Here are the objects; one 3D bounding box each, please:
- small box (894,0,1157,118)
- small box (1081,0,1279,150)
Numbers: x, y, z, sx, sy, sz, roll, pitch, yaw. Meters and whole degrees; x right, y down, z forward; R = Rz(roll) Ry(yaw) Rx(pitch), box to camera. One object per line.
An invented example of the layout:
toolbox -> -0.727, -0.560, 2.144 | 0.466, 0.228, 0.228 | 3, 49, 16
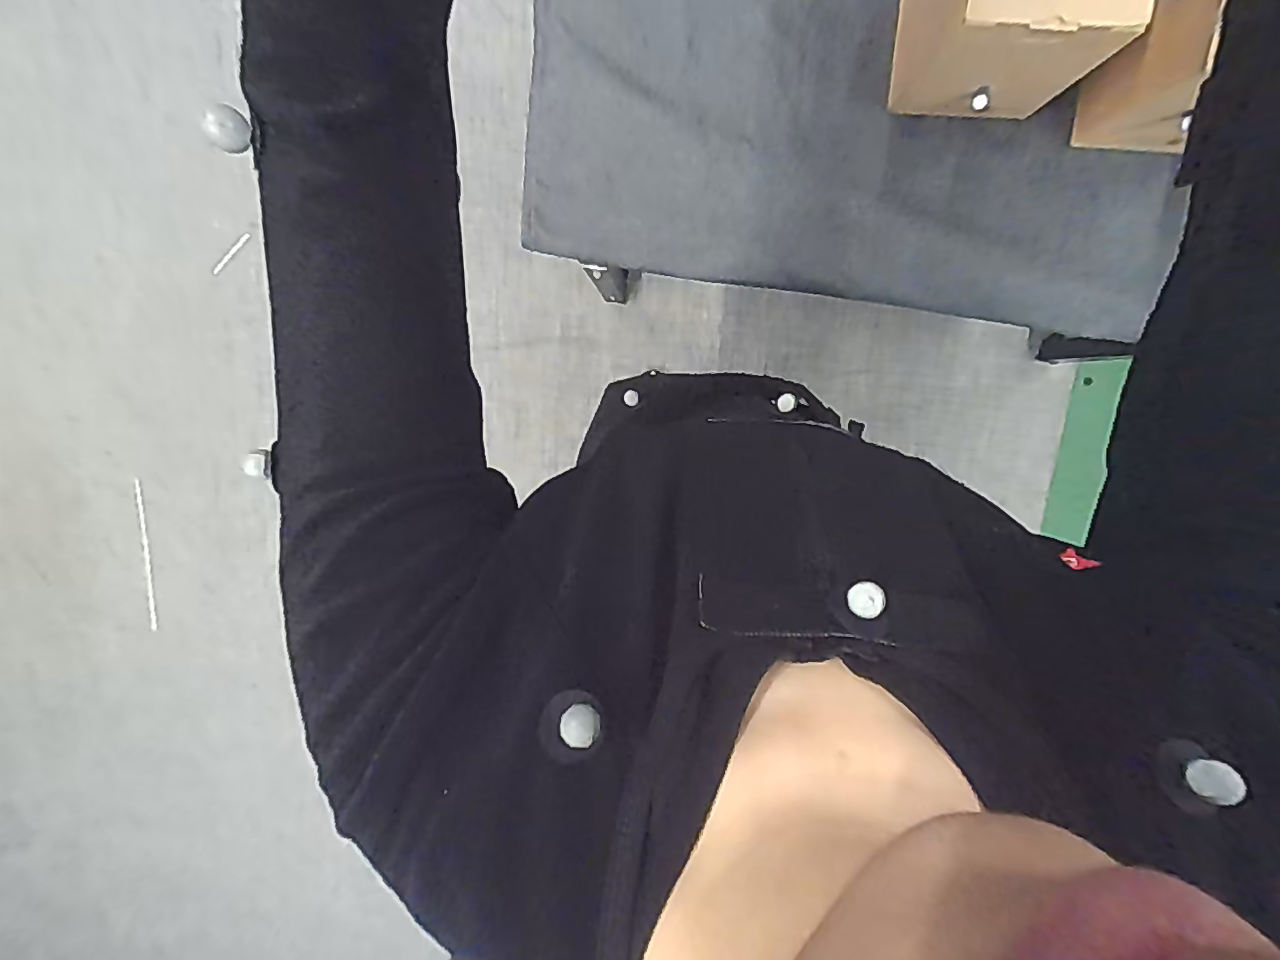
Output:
small box -> 0.378, -0.505, 0.545 | 0.168, 0.176, 0.179 | 3, 100, 2
small box -> 0.599, -0.462, 0.546 | 0.168, 0.176, 0.179 | 4, 100, 2
